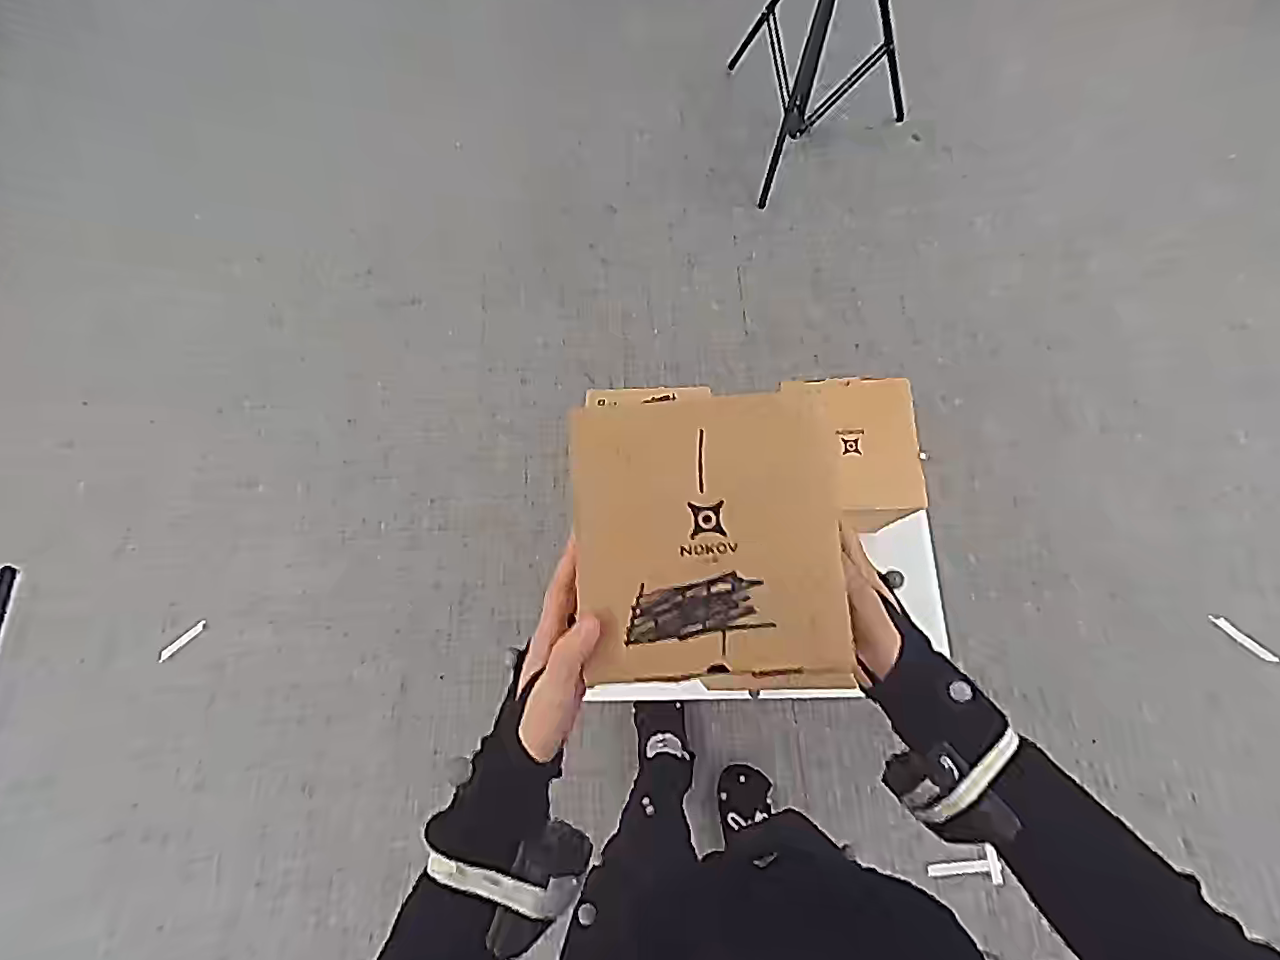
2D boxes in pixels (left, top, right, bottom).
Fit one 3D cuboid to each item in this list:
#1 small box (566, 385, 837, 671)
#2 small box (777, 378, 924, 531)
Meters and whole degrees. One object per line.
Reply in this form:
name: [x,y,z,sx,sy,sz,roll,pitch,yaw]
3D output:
small box: [0.040,0.038,0.422,0.168,0.176,0.179,-4,82,1]
small box: [0.265,-0.025,0.752,0.168,0.176,0.179,-2,74,2]
